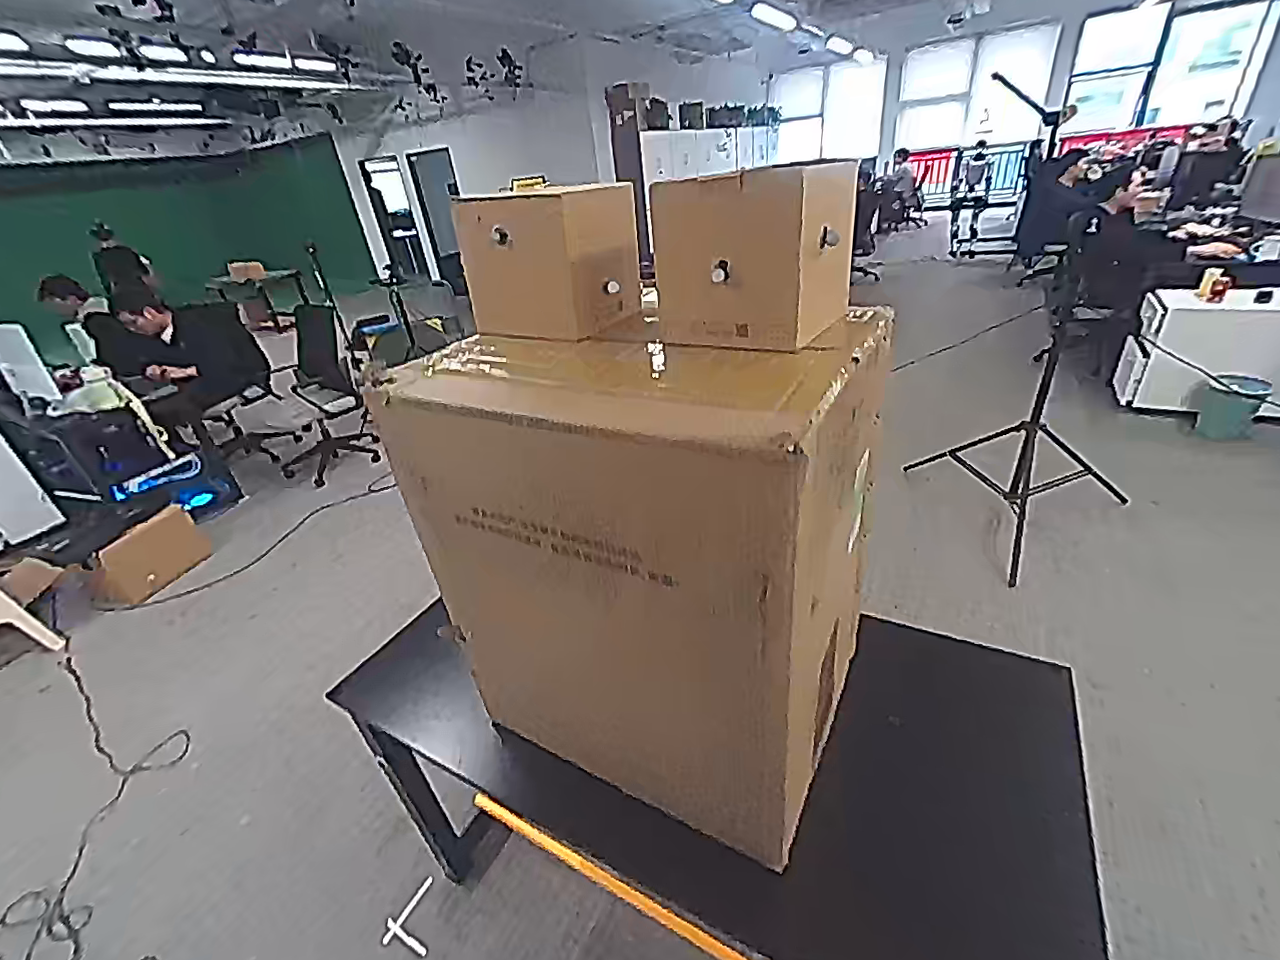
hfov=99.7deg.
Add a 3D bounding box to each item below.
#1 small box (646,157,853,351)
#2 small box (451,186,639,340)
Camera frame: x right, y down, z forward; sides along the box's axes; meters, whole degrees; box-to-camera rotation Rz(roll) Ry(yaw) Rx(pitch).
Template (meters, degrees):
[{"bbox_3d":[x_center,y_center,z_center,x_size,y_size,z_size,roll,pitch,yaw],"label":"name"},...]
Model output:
[{"bbox_3d":[0.128,-0.250,0.604,0.168,0.176,0.179,13,34,32],"label":"small box"},{"bbox_3d":[-0.118,-0.294,0.731,0.179,0.176,0.168,13,35,27],"label":"small box"}]
